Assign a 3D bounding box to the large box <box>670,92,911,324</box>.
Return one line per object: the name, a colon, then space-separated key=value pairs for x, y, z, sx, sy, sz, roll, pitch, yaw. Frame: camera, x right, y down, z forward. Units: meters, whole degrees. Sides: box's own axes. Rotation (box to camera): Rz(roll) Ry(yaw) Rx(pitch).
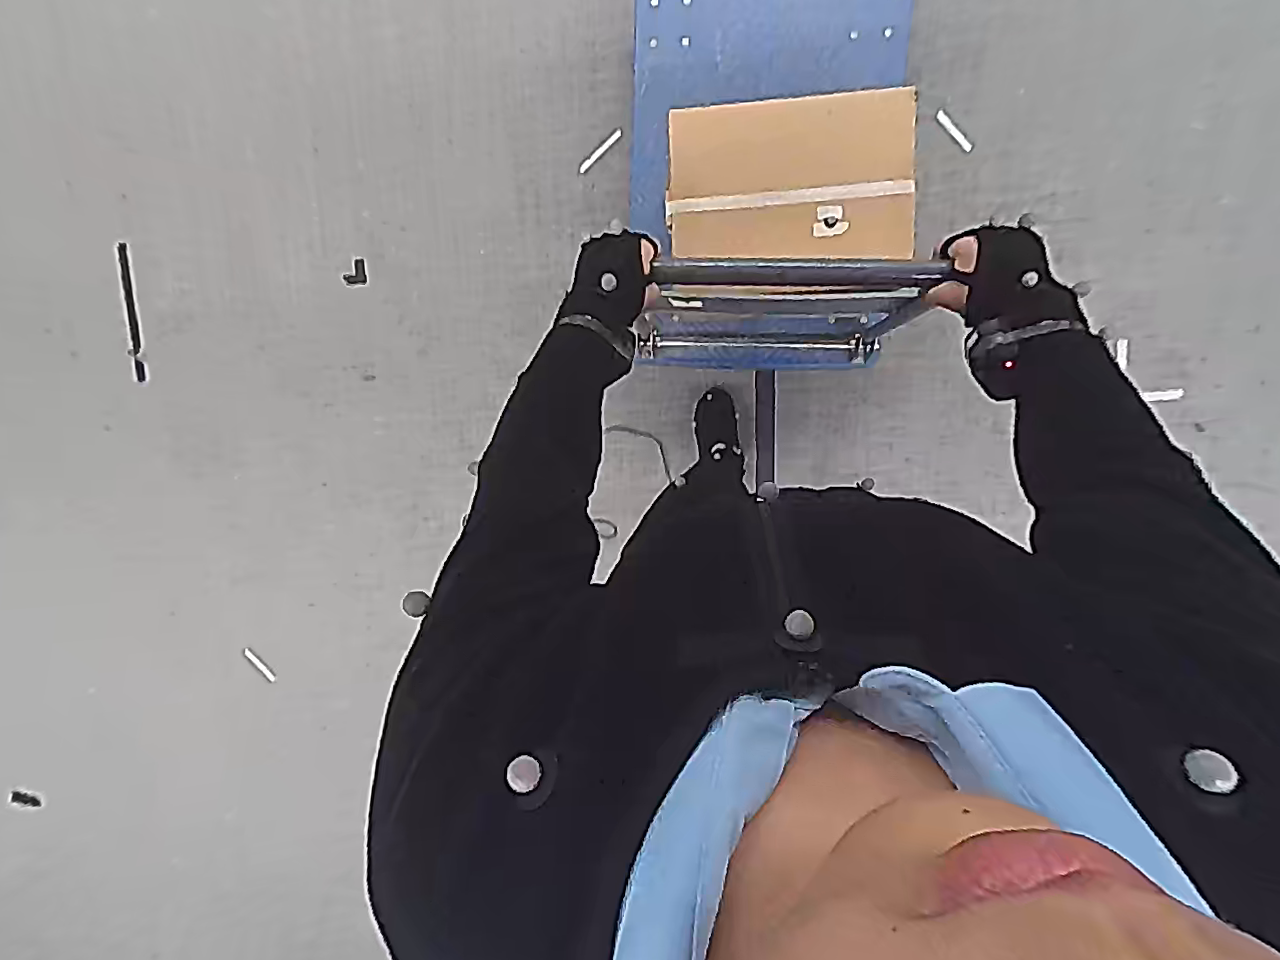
large box: x=0.270 y=-0.502 z=1.077 sx=0.408 sy=0.320 sz=0.320 roll=-2 pitch=99 yaw=5
